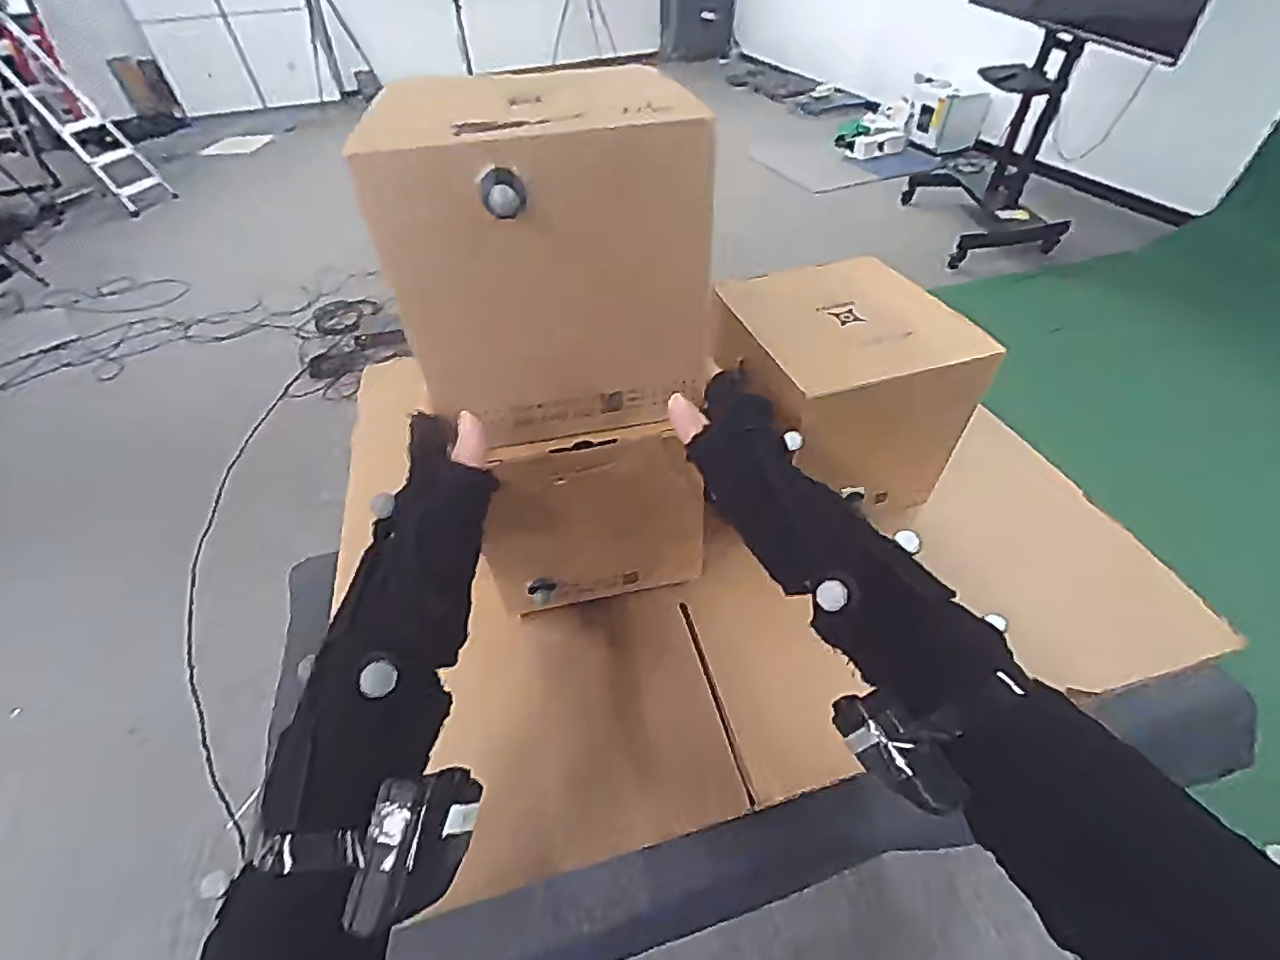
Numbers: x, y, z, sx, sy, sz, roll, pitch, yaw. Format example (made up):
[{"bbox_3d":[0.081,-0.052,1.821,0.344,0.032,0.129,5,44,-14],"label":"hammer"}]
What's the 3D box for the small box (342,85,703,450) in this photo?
[{"bbox_3d":[-0.061,-0.143,0.358,0.168,0.176,0.179,-9,43,-5],"label":"small box"}]
